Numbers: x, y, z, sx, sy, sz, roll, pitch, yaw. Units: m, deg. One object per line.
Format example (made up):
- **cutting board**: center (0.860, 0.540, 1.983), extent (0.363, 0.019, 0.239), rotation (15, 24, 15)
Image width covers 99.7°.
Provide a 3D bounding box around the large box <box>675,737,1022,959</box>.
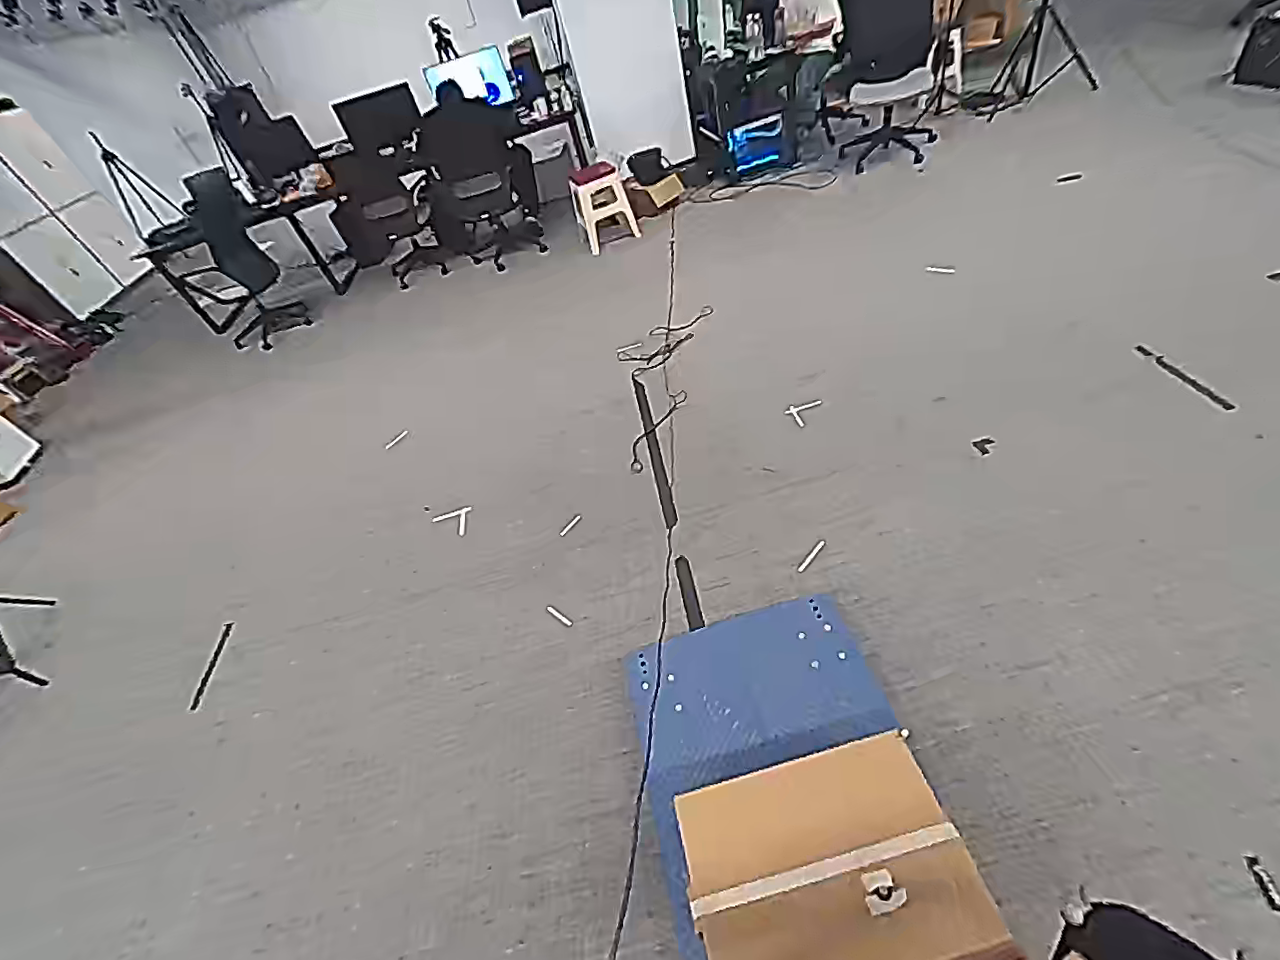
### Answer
- **large box**: center (0.310, 0.697, 0.896), extent (0.408, 0.320, 0.320), rotation (-18, 42, 1)
